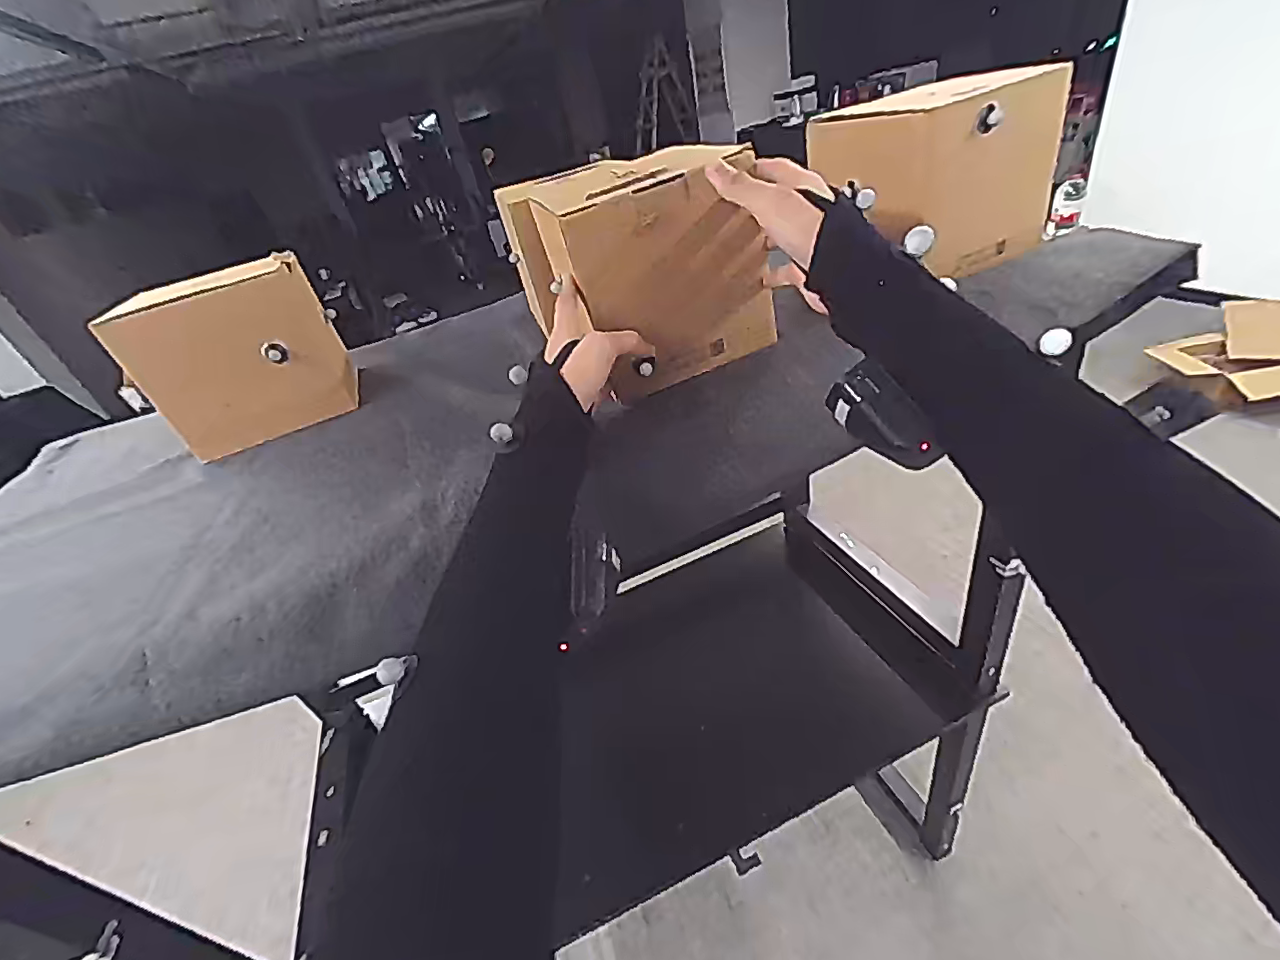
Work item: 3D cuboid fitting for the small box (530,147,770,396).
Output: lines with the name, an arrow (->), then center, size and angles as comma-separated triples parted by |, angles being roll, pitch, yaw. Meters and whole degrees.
small box -> 0.010, -0.200, 0.525 | 0.168, 0.176, 0.179 | -22, 36, -6

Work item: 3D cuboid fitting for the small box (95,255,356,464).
small box -> -0.461, -0.147, 0.643 | 0.179, 0.176, 0.168 | -24, 36, -14

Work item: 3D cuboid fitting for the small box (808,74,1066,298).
small box -> 0.306, -0.314, 0.593 | 0.168, 0.176, 0.179 | -23, 34, -11
